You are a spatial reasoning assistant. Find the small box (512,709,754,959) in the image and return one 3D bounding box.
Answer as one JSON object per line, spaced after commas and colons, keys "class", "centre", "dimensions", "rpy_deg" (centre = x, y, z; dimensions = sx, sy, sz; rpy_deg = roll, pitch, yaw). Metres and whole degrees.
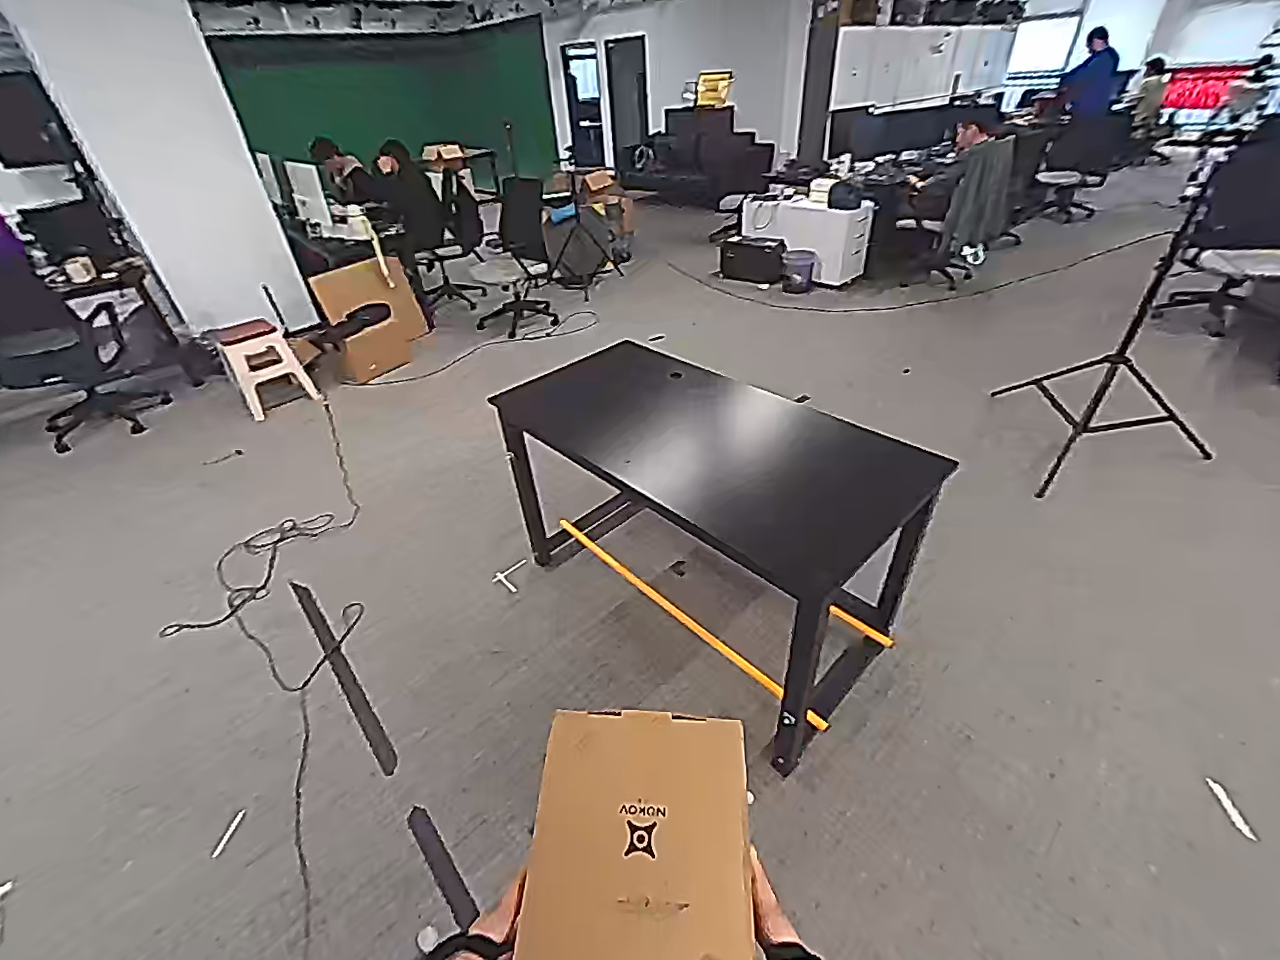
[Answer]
{"class": "small box", "centre": [0.002, 0.321, 0.471], "dimensions": [0.168, 0.176, 0.179], "rpy_deg": [1, 49, 4]}
